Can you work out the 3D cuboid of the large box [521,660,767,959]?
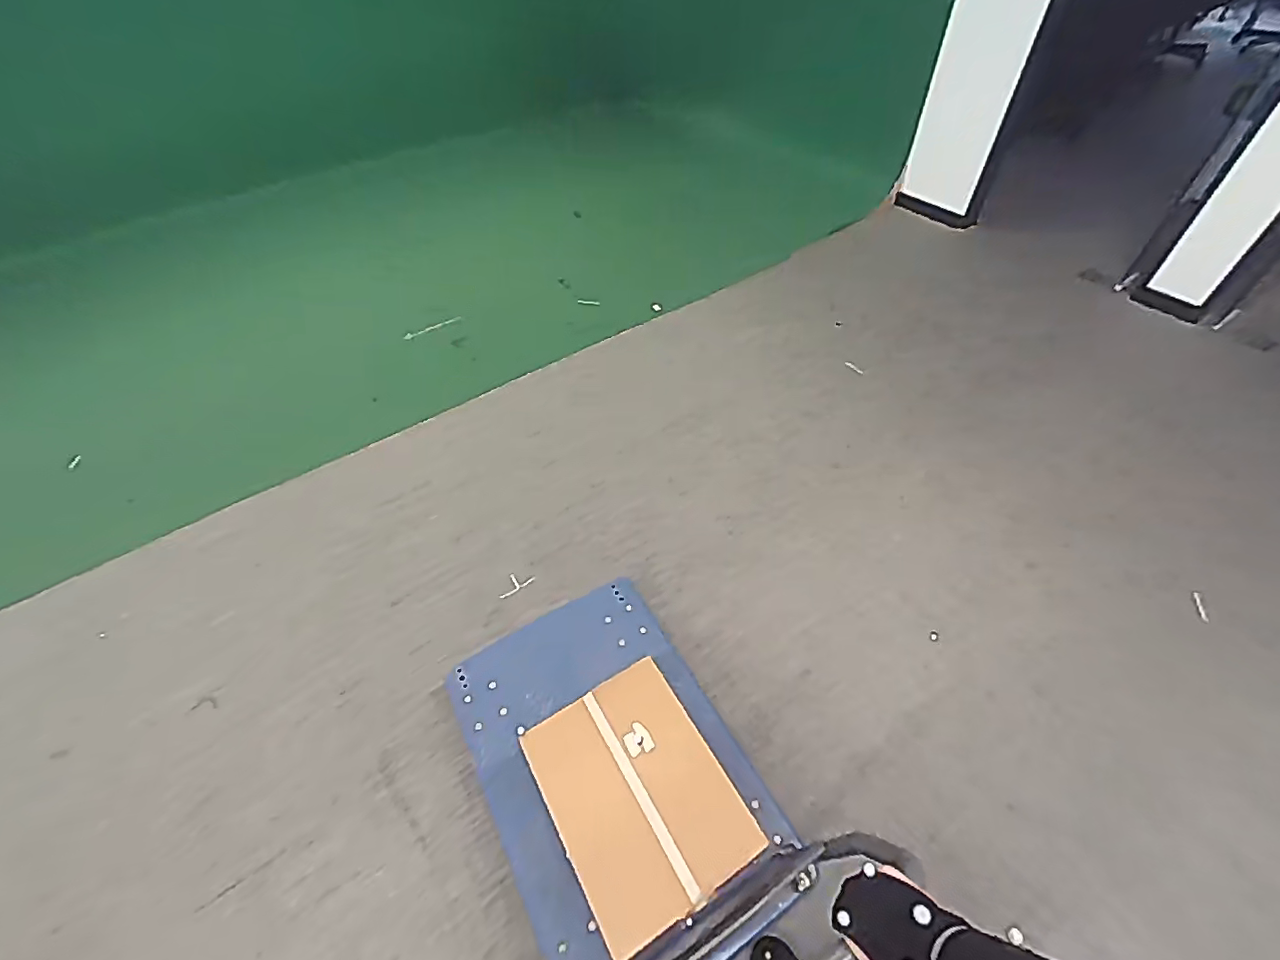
[{"bbox_3d":[0.006,0.671,1.125,0.320,0.320,0.408,-26,53,-18],"label":"large box"}]
